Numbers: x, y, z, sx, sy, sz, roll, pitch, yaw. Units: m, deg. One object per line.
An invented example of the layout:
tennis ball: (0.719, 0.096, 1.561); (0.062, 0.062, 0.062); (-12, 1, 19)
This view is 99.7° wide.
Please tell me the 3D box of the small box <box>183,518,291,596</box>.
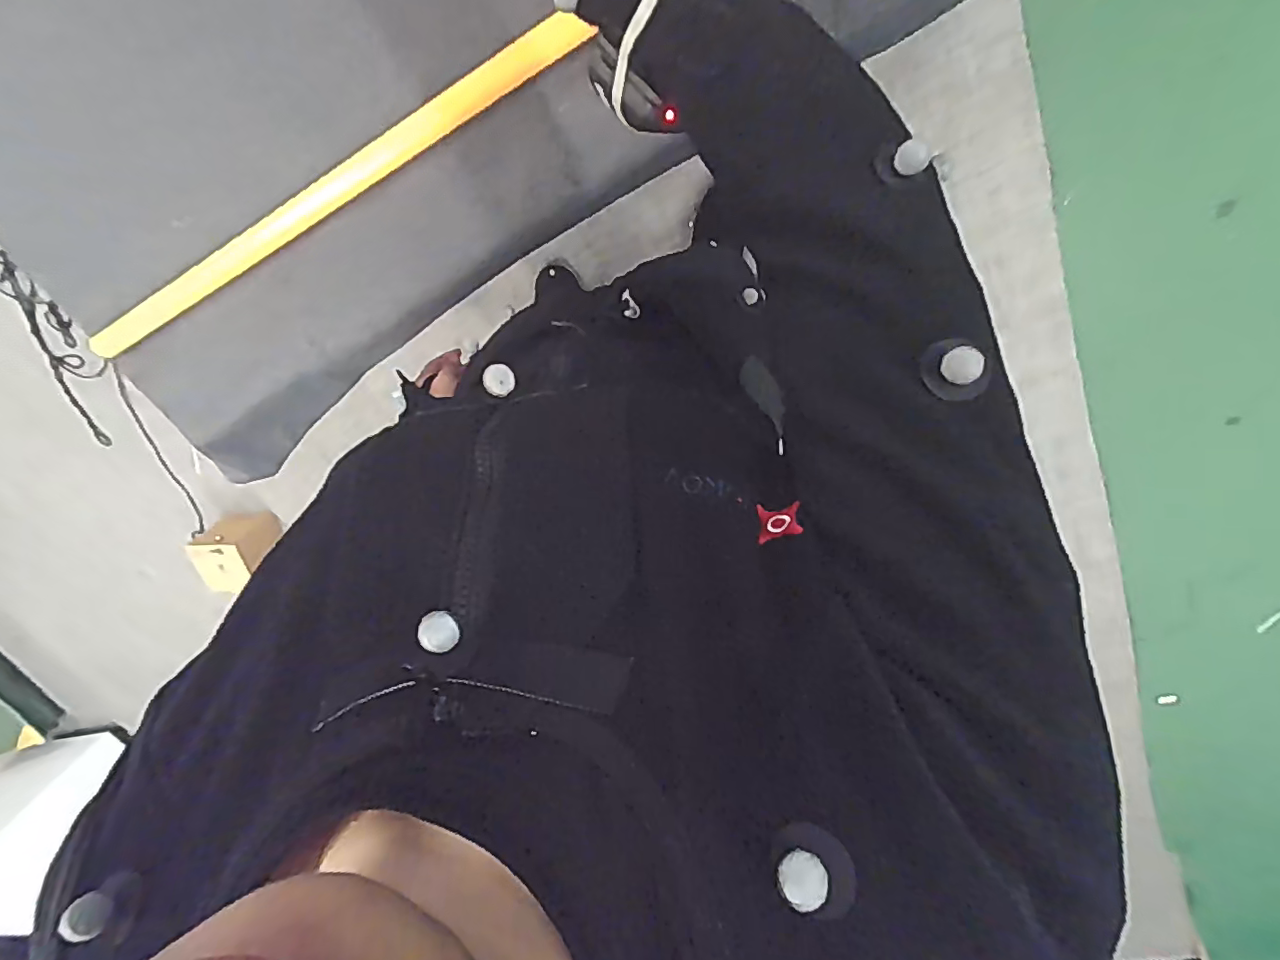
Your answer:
small box: (-1.213, 0.233, 1.647); (0.168, 0.176, 0.179); (-2, 118, 8)
